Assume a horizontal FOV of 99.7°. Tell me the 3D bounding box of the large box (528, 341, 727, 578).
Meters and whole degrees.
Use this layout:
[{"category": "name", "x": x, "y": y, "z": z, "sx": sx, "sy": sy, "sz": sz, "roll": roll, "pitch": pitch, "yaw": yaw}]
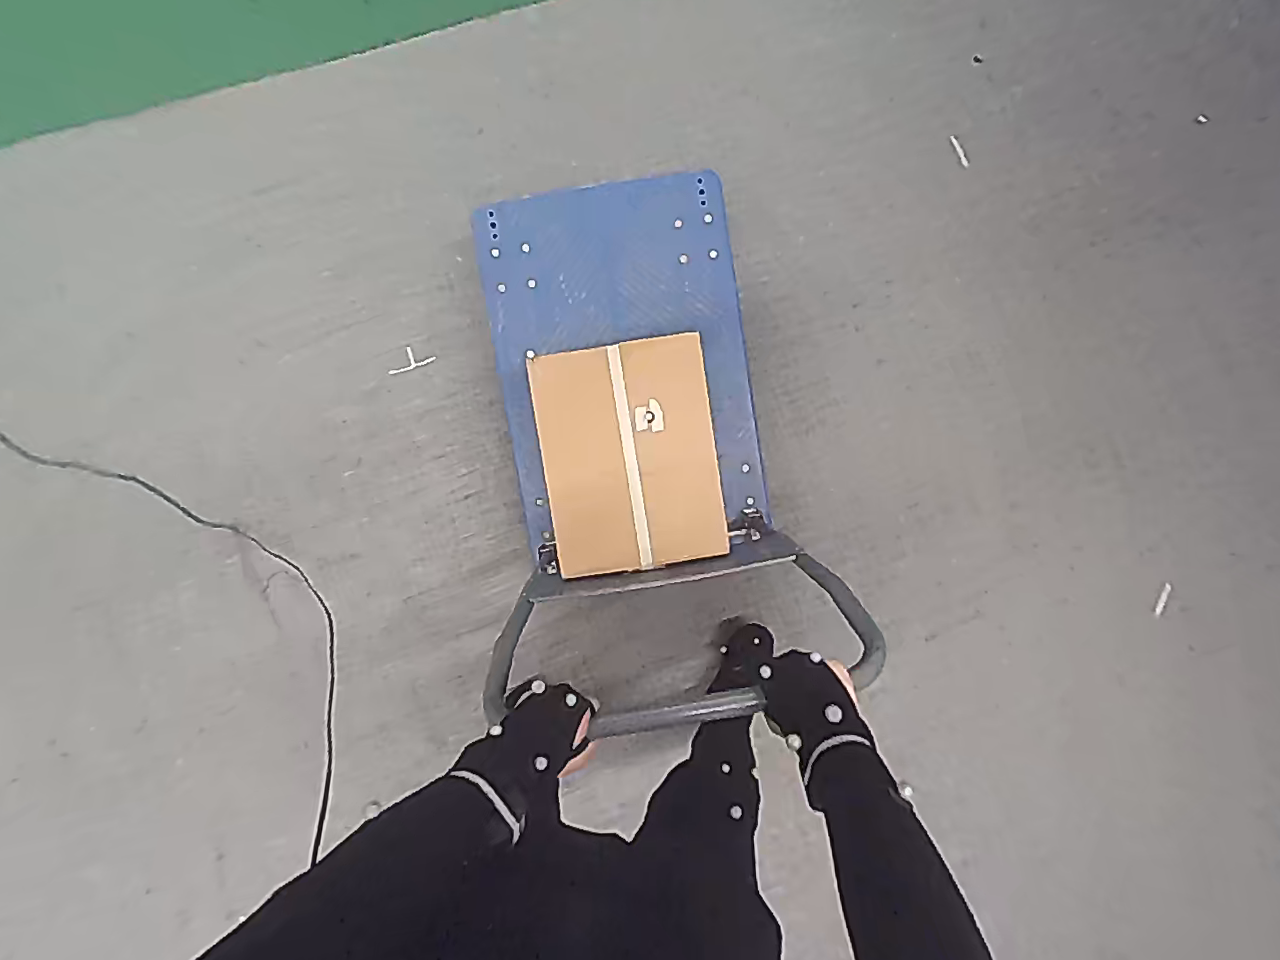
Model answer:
[{"category": "large box", "x": -0.021, "y": -0.041, "z": 1.143, "sx": 0.320, "sy": 0.320, "sz": 0.408, "roll": -9, "pitch": 93, "yaw": -1}]
